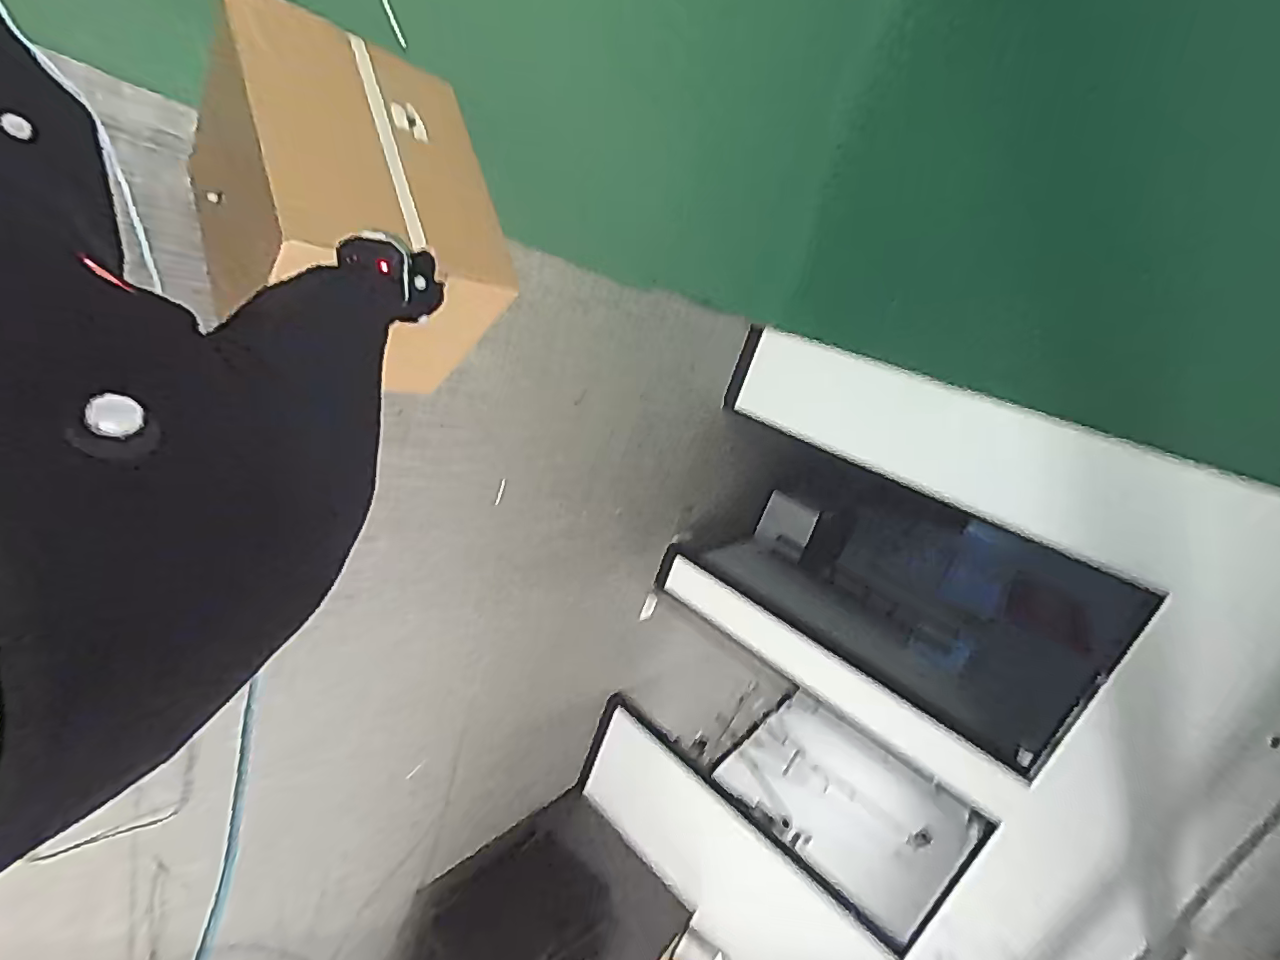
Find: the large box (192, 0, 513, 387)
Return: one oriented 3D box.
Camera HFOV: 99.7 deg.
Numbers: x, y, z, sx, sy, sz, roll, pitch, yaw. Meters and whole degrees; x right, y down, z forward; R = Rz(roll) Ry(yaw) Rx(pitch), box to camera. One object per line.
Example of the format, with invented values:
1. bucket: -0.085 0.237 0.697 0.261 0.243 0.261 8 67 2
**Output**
1. large box: -0.460 -0.394 0.849 0.320 0.408 0.320 -32 163 38
